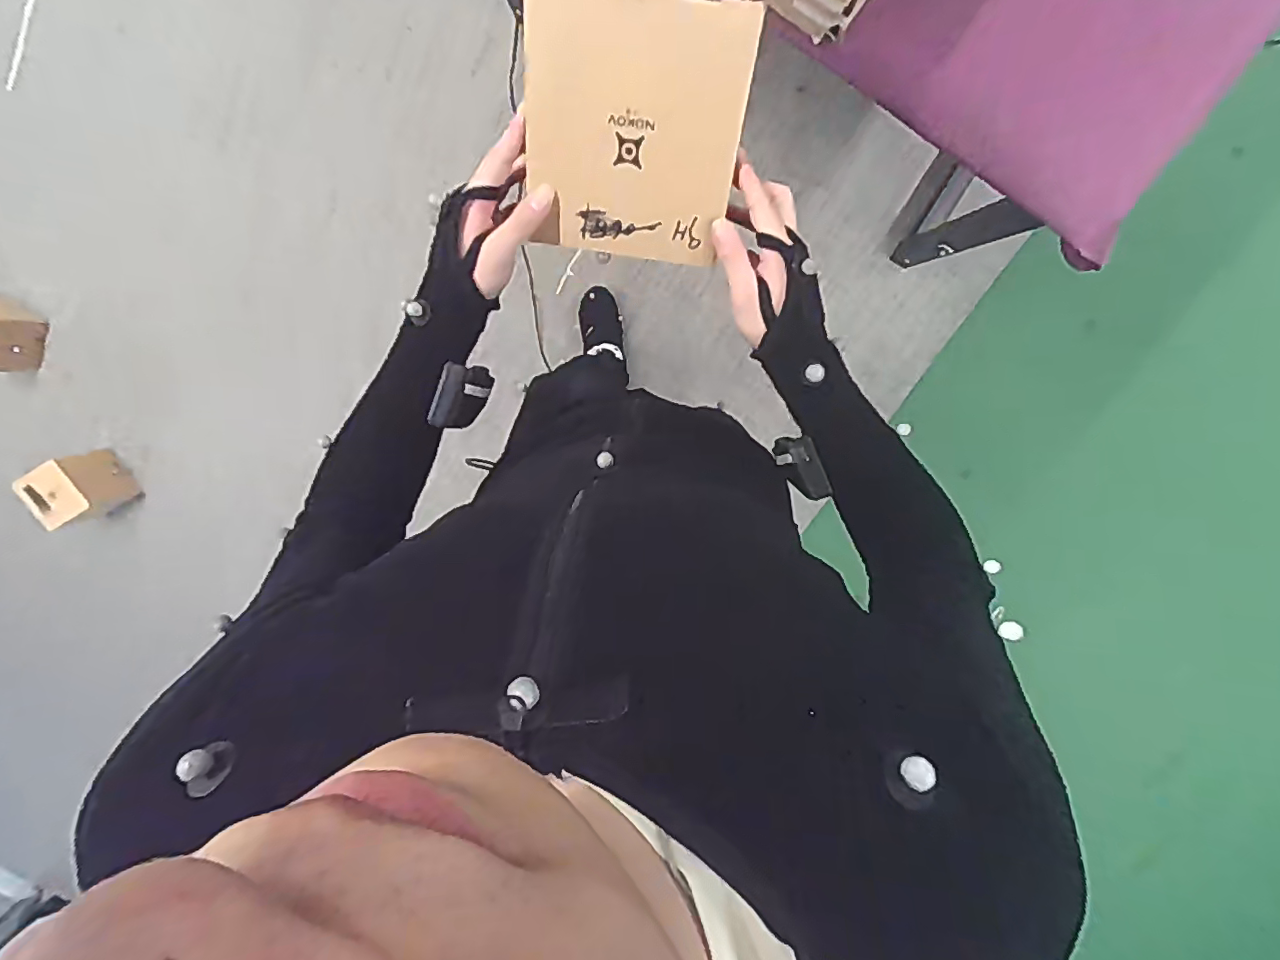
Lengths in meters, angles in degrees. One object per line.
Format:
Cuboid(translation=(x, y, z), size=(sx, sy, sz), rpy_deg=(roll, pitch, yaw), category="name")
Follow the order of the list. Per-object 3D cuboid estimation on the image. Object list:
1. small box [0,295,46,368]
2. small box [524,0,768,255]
Cuboid(translation=(-1.866, -0.428, 1.533), size=(0.179, 0.176, 0.168), rpy_deg=(28, 104, -5), category="small box")
Cuboid(translation=(0.001, -0.320, 0.470), size=(0.168, 0.176, 0.179), rpy_deg=(10, 128, 0), category="small box")
